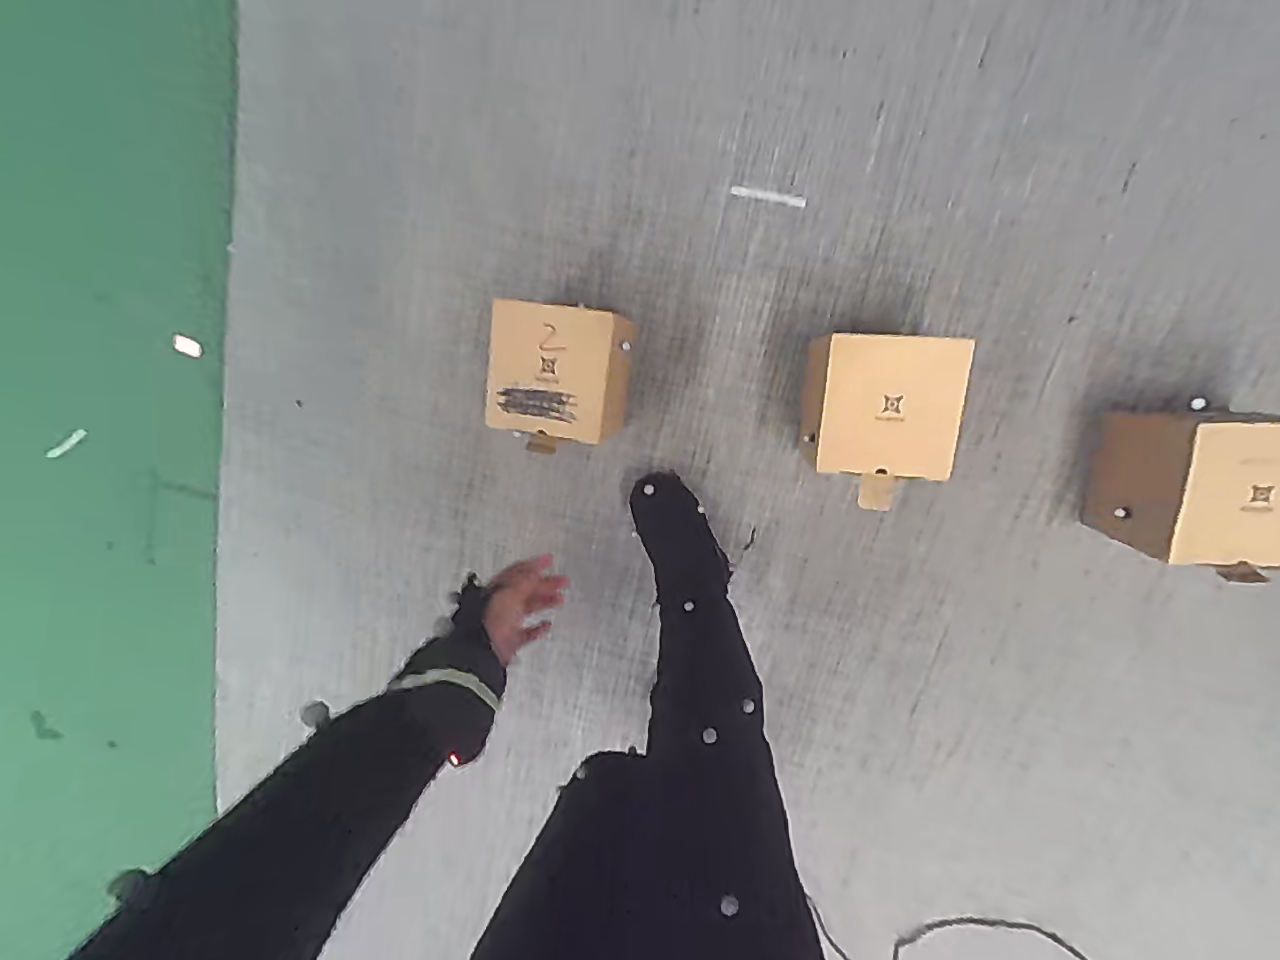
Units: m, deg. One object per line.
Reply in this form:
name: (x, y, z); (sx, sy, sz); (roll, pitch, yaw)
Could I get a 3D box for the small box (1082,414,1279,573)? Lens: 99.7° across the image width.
small box: (0.727, 0.009, 0.707); (0.168, 0.176, 0.179); (1, 101, 8)

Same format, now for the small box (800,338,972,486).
small box: (0.322, -0.100, 0.747); (0.168, 0.176, 0.179); (4, 103, 8)
